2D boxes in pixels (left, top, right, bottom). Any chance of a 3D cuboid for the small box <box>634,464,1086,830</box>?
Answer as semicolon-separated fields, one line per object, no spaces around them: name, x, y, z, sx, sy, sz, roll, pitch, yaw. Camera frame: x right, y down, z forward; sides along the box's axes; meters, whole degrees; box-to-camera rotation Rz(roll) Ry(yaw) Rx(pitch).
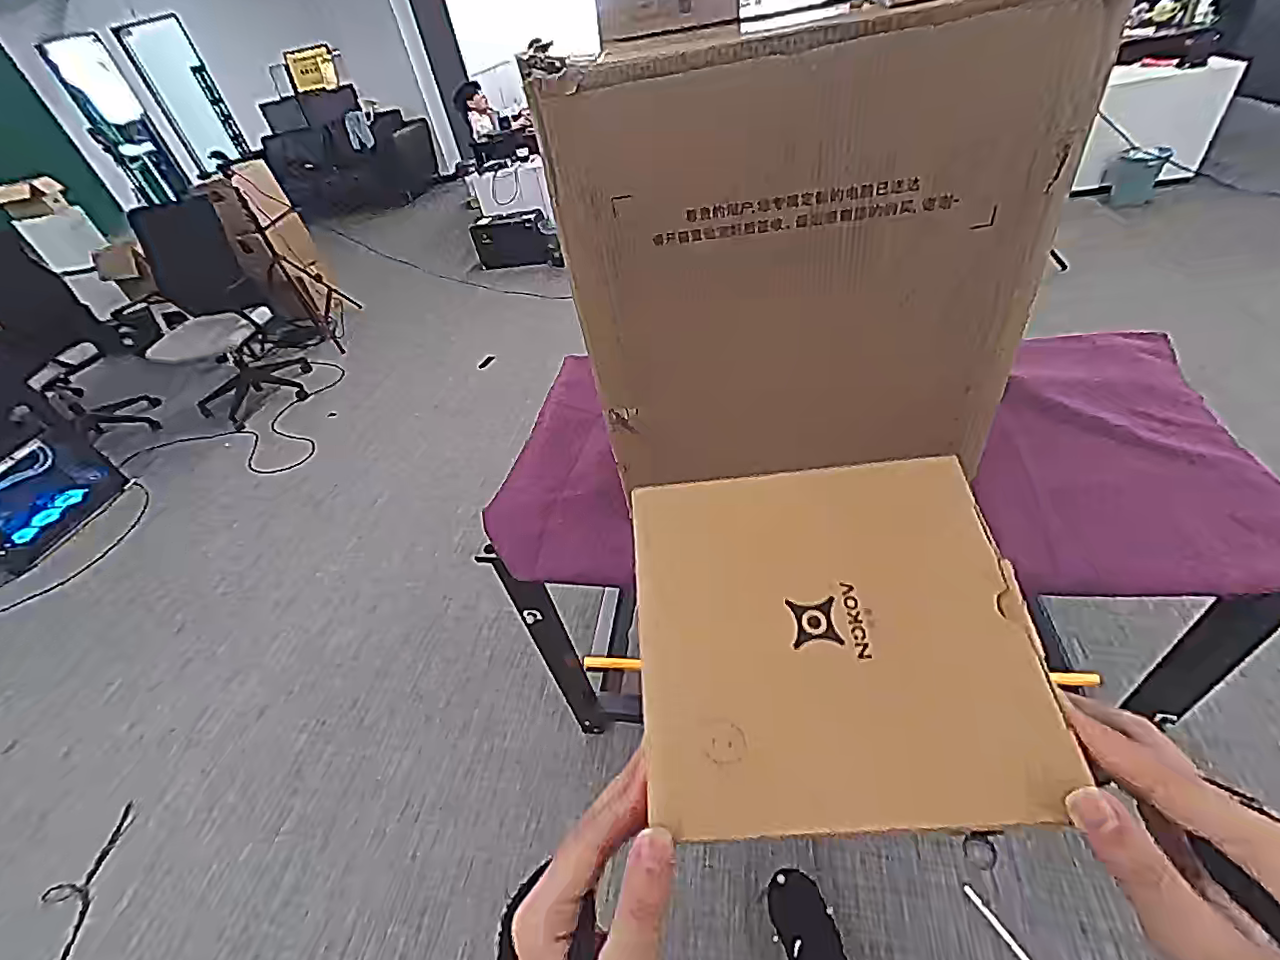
small box;0.095;0.110;0.325;0.179;0.176;0.168;-6;58;4

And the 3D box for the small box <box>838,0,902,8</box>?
small box;0.316;-0.651;0.602;0.168;0.176;0.179;-1;42;14
